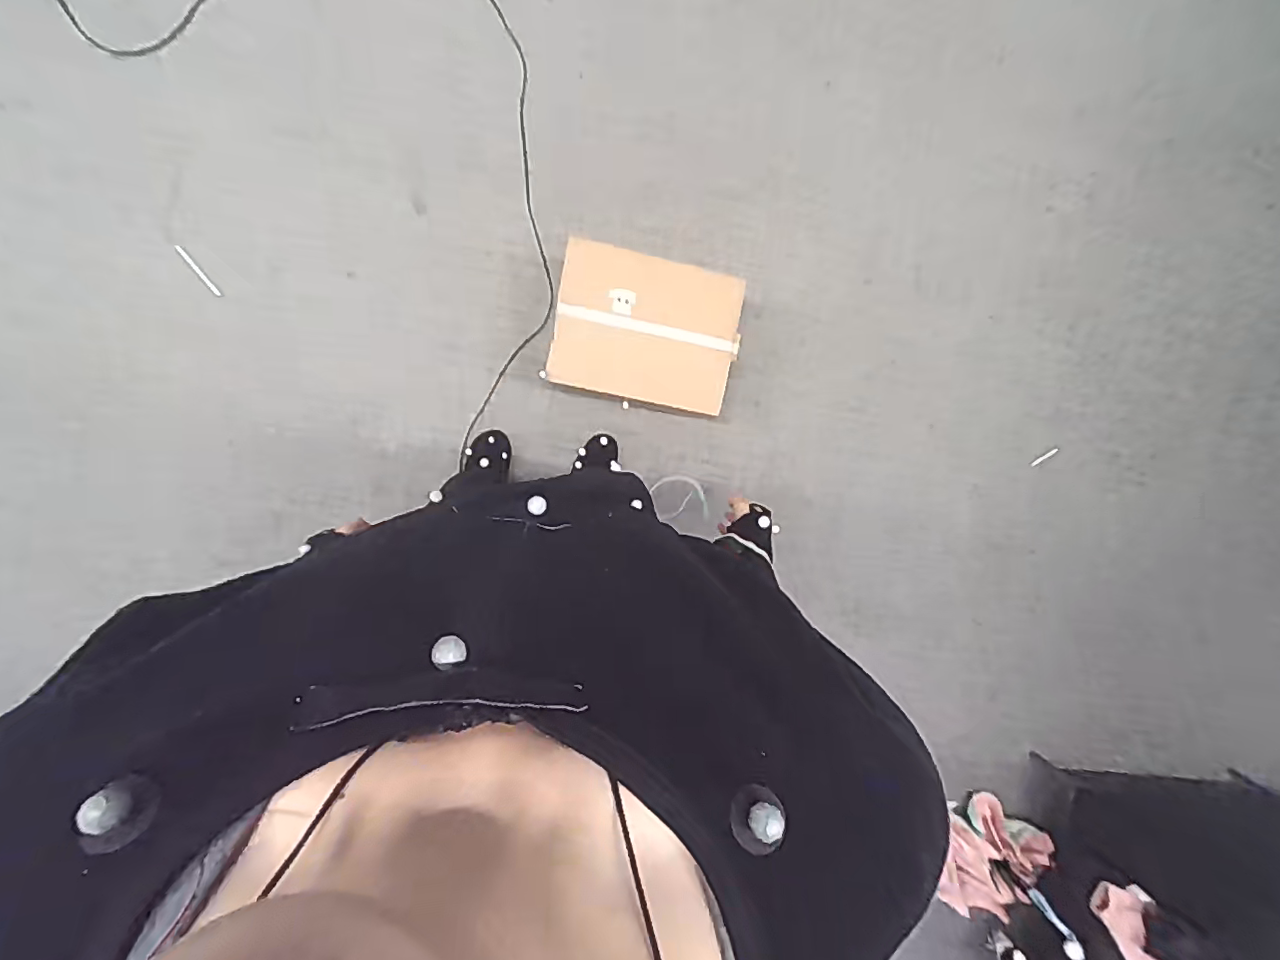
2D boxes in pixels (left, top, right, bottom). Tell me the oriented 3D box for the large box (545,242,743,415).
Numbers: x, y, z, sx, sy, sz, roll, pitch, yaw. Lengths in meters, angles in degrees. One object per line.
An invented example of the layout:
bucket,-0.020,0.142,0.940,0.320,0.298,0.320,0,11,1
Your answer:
large box,-0.003,-0.348,1.343,0.408,0.320,0.320,11,95,-8
